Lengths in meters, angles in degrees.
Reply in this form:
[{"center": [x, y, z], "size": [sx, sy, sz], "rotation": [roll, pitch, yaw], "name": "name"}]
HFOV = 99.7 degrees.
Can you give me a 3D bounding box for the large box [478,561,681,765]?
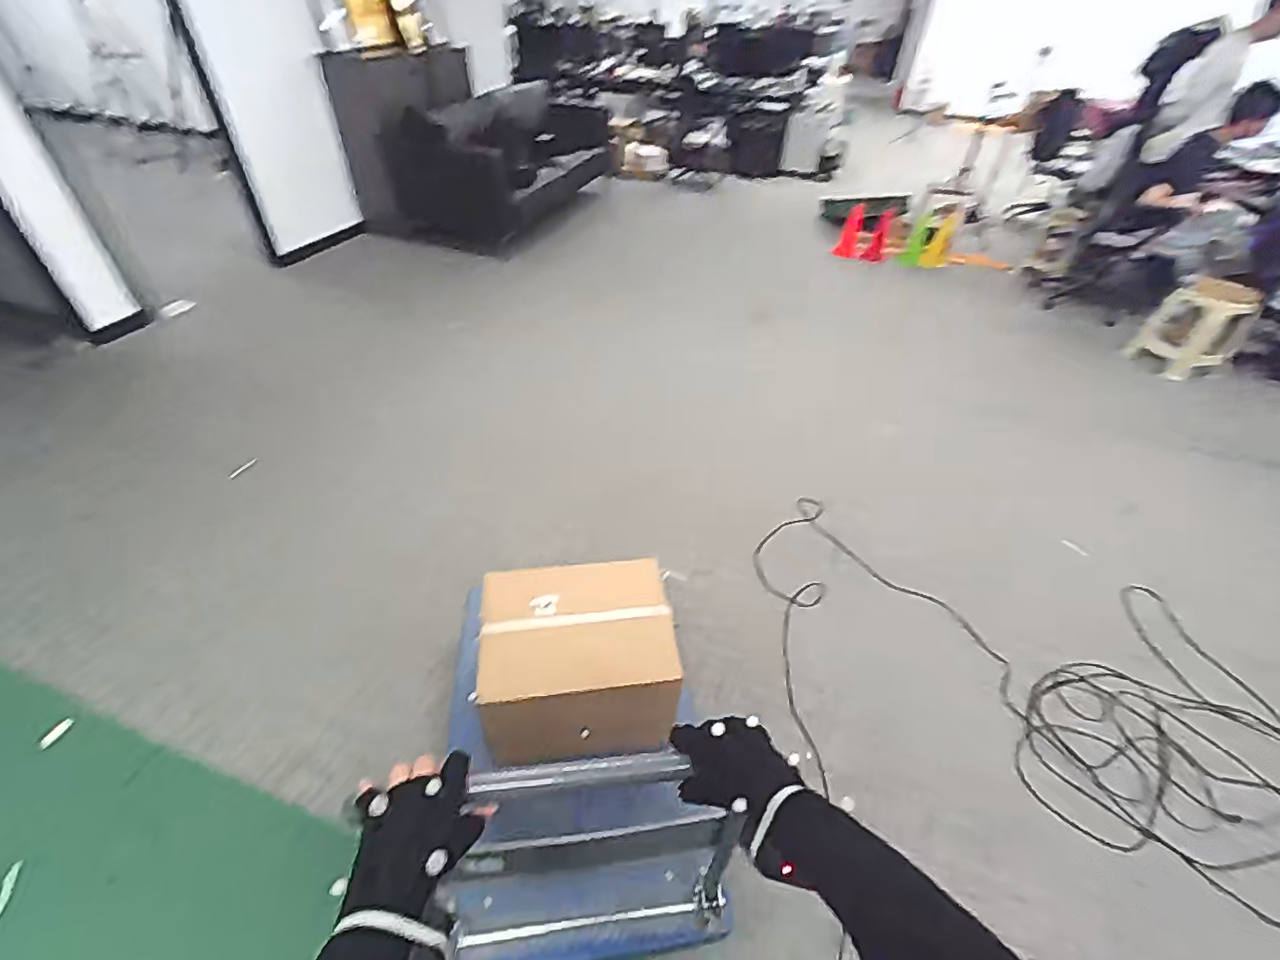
[{"center": [-0.141, 0.423, 1.259], "size": [0.408, 0.320, 0.320], "rotation": [-5, 42, -8], "name": "large box"}]
